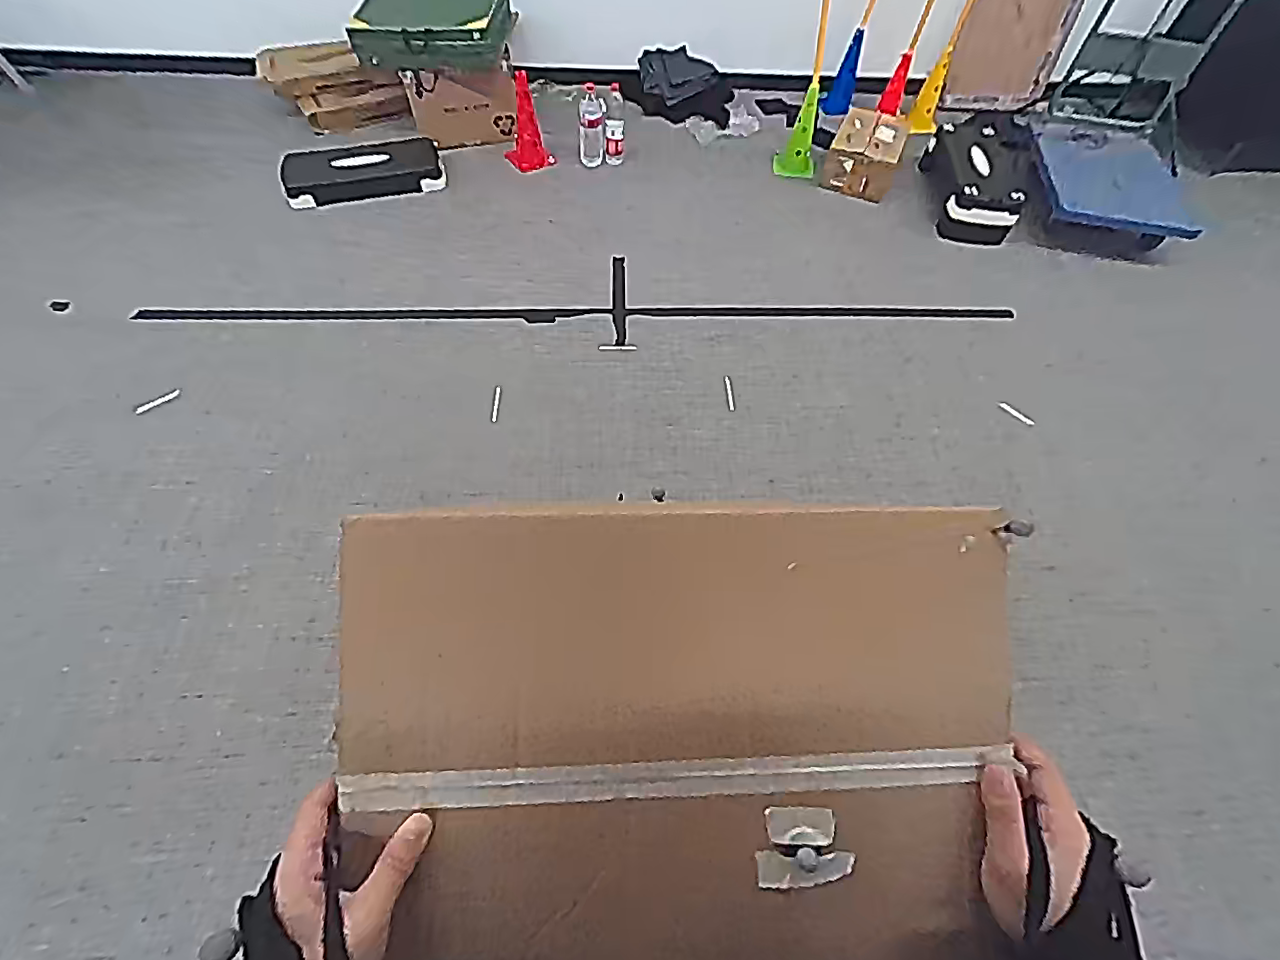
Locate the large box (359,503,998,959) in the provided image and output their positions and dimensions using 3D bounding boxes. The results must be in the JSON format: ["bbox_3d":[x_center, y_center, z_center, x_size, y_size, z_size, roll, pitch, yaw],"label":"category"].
[{"bbox_3d":[0.019,0.181,0.485,0.408,0.320,0.320,-1,90,-5],"label":"large box"}]
